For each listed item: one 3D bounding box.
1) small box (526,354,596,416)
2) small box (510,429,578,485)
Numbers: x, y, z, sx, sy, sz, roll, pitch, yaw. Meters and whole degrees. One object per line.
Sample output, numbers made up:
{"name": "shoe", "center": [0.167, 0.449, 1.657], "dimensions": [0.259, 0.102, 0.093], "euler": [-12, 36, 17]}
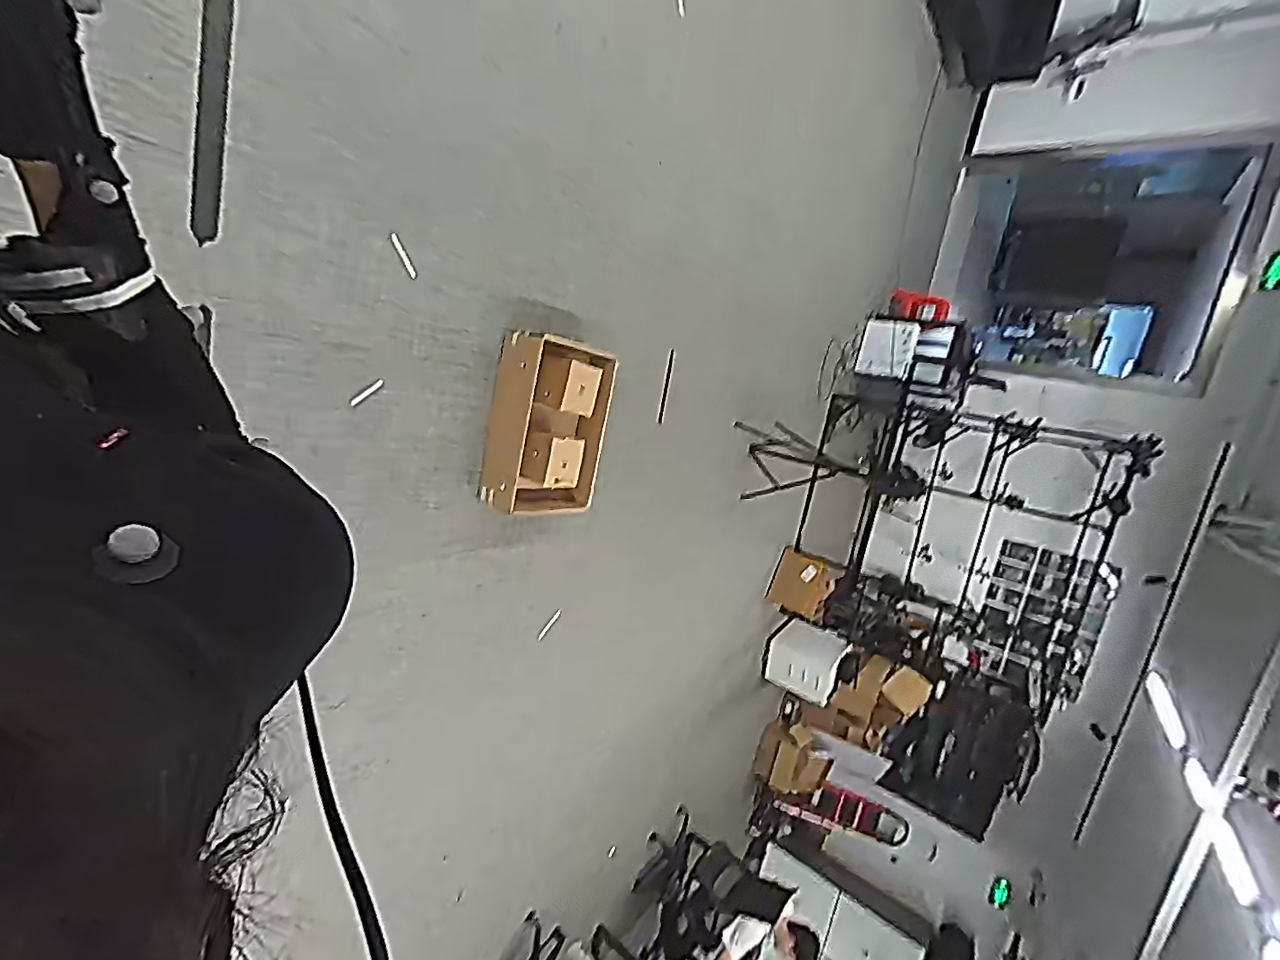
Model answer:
{"name": "small box", "center": [-0.288, -0.343, 1.946], "dimensions": [0.168, 0.176, 0.179], "euler": [5, 101, -55]}
{"name": "small box", "center": [-0.353, -0.085, 1.974], "dimensions": [0.168, 0.176, 0.179], "euler": [1, 101, -53]}
